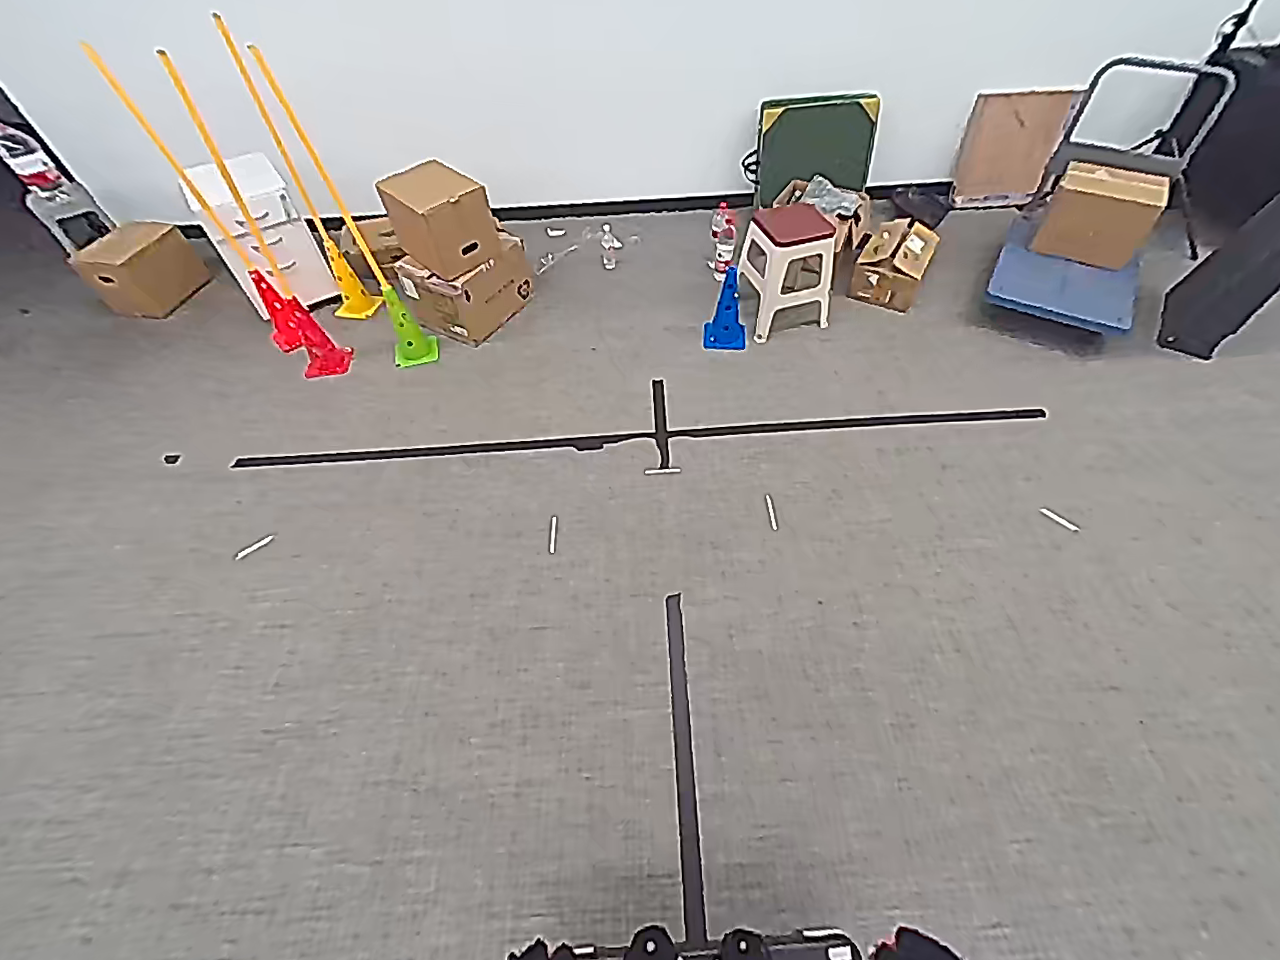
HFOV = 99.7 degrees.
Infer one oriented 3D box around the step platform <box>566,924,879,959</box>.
[{"bbox_3d":[0.170,1.116,1.102,0.684,0.204,0.286,-4,52,-2],"label":"step platform"}]
